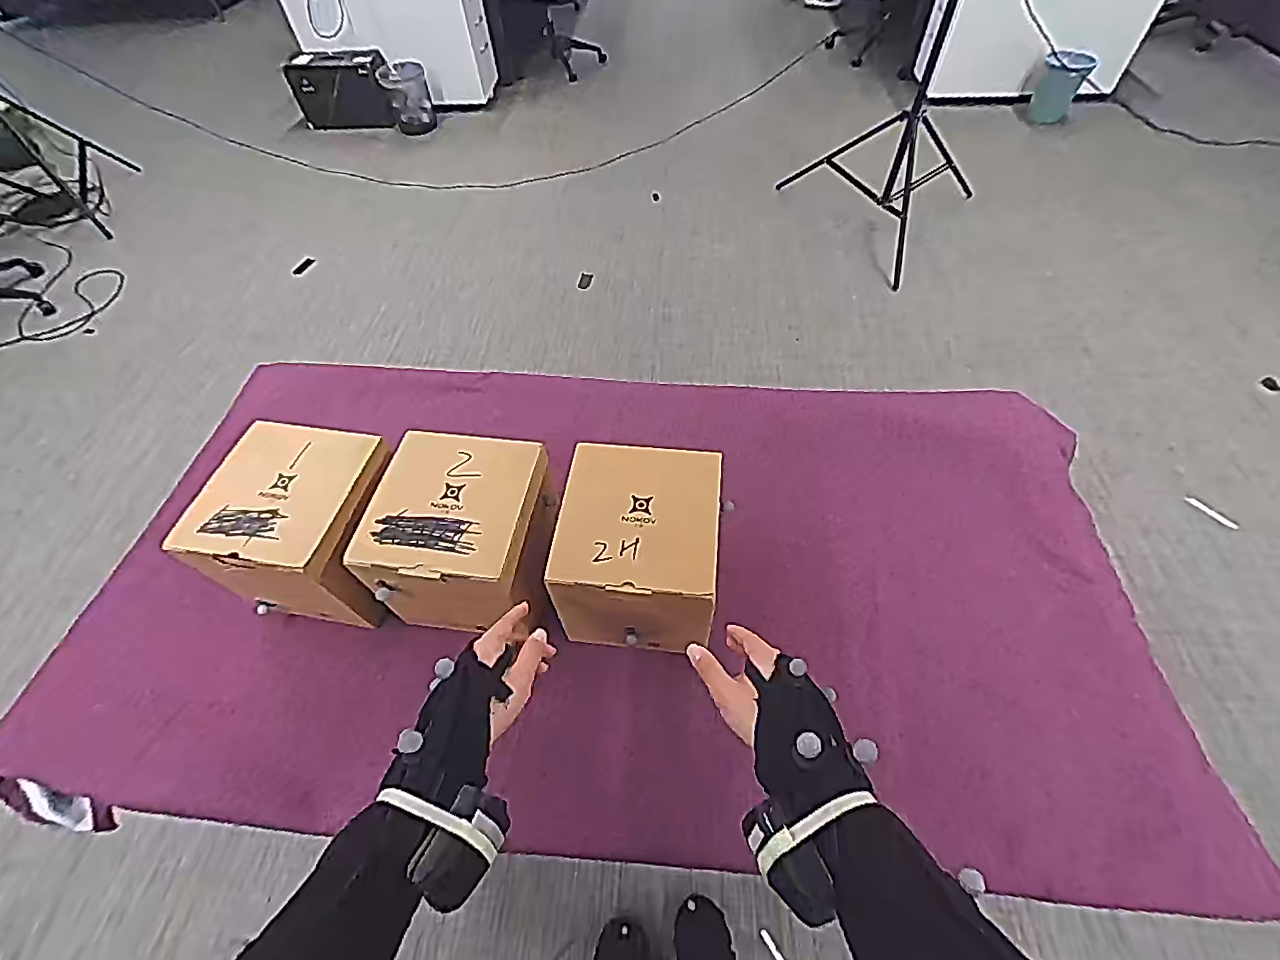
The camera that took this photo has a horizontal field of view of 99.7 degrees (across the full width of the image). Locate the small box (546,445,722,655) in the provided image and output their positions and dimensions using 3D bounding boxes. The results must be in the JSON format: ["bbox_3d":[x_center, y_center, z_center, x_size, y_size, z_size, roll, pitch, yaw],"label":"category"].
[{"bbox_3d":[0.003,0.082,0.624,0.168,0.176,0.179,4,54,7],"label":"small box"}]
